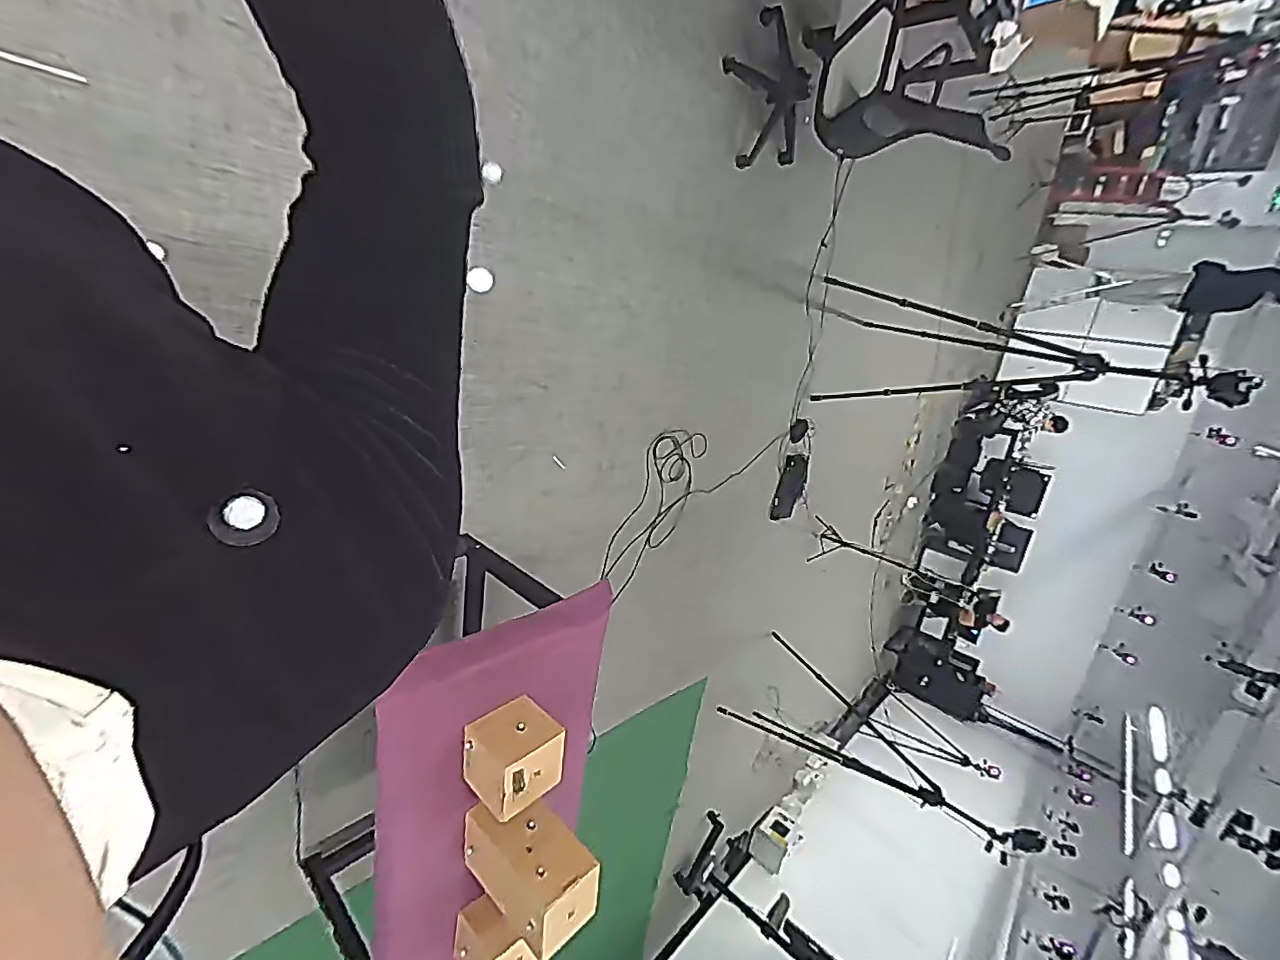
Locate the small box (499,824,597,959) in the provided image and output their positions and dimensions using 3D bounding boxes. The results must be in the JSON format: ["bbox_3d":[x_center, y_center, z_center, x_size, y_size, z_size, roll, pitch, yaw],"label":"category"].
[{"bbox_3d":[-0.223,0.976,1.302,0.168,0.176,0.179,-13,116,-45],"label":"small box"}]

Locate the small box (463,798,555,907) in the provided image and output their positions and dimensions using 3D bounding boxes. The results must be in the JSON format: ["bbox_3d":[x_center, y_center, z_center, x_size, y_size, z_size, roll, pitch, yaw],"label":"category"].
[{"bbox_3d":[-0.343,0.931,1.404,0.168,0.176,0.179,-13,117,-47],"label":"small box"}]

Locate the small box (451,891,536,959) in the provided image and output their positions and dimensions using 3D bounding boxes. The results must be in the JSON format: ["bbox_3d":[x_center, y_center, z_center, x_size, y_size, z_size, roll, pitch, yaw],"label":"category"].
[{"bbox_3d":[-0.394,1.260,1.497,0.179,0.176,0.168,-5,110,-49],"label":"small box"}]

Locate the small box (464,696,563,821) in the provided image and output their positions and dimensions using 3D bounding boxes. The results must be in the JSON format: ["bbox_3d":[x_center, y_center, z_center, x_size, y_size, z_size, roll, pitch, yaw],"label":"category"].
[{"bbox_3d":[-0.311,0.665,1.314,0.179,0.176,0.168,-14,117,-47],"label":"small box"}]
